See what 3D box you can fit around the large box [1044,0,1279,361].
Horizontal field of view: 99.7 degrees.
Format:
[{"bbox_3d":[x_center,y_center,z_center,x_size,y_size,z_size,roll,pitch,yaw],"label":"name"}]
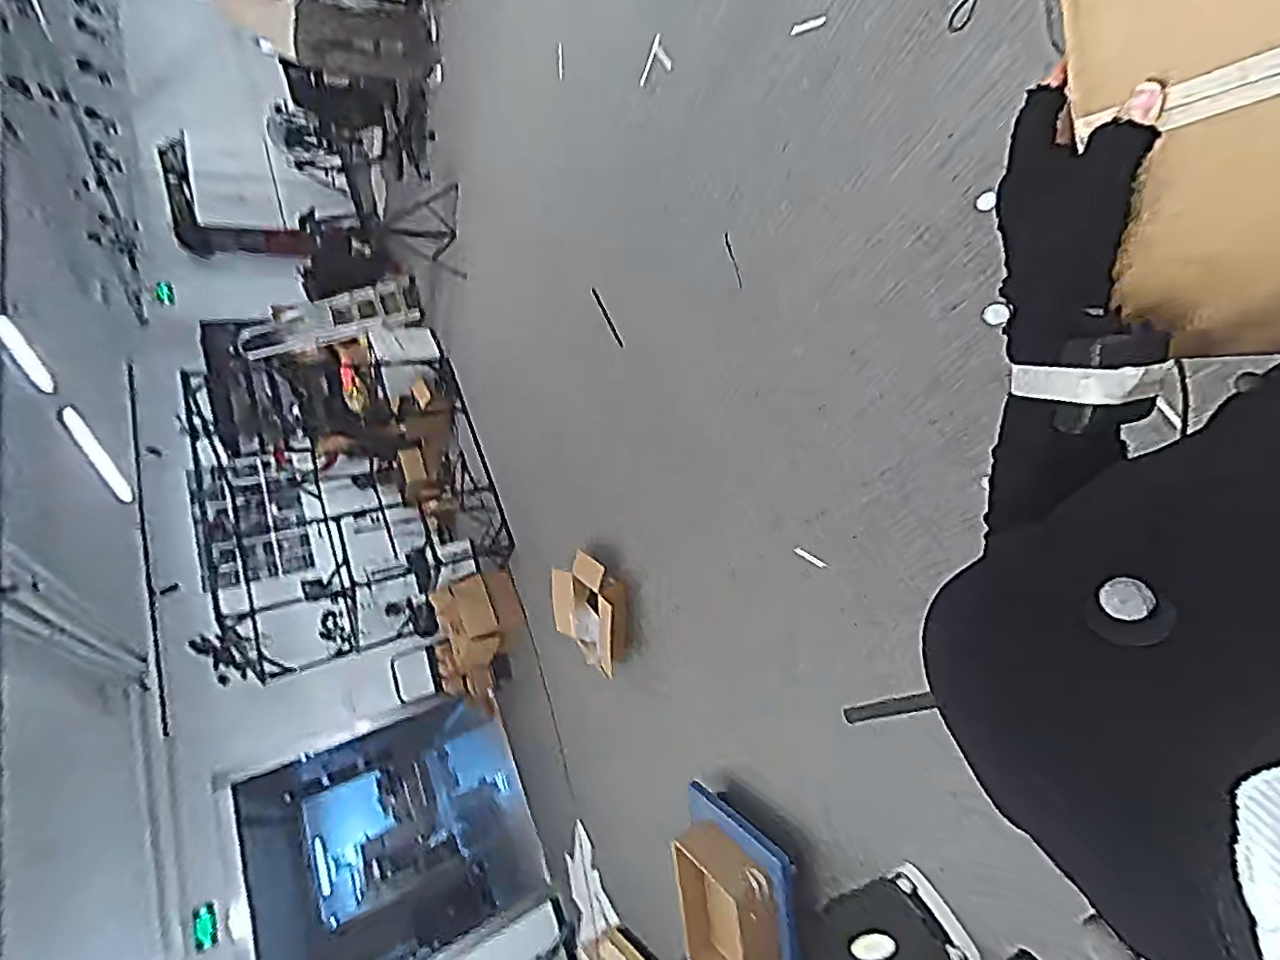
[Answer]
[{"bbox_3d":[0.478,-0.281,0.233,0.408,0.320,0.320,10,138,56],"label":"large box"}]
